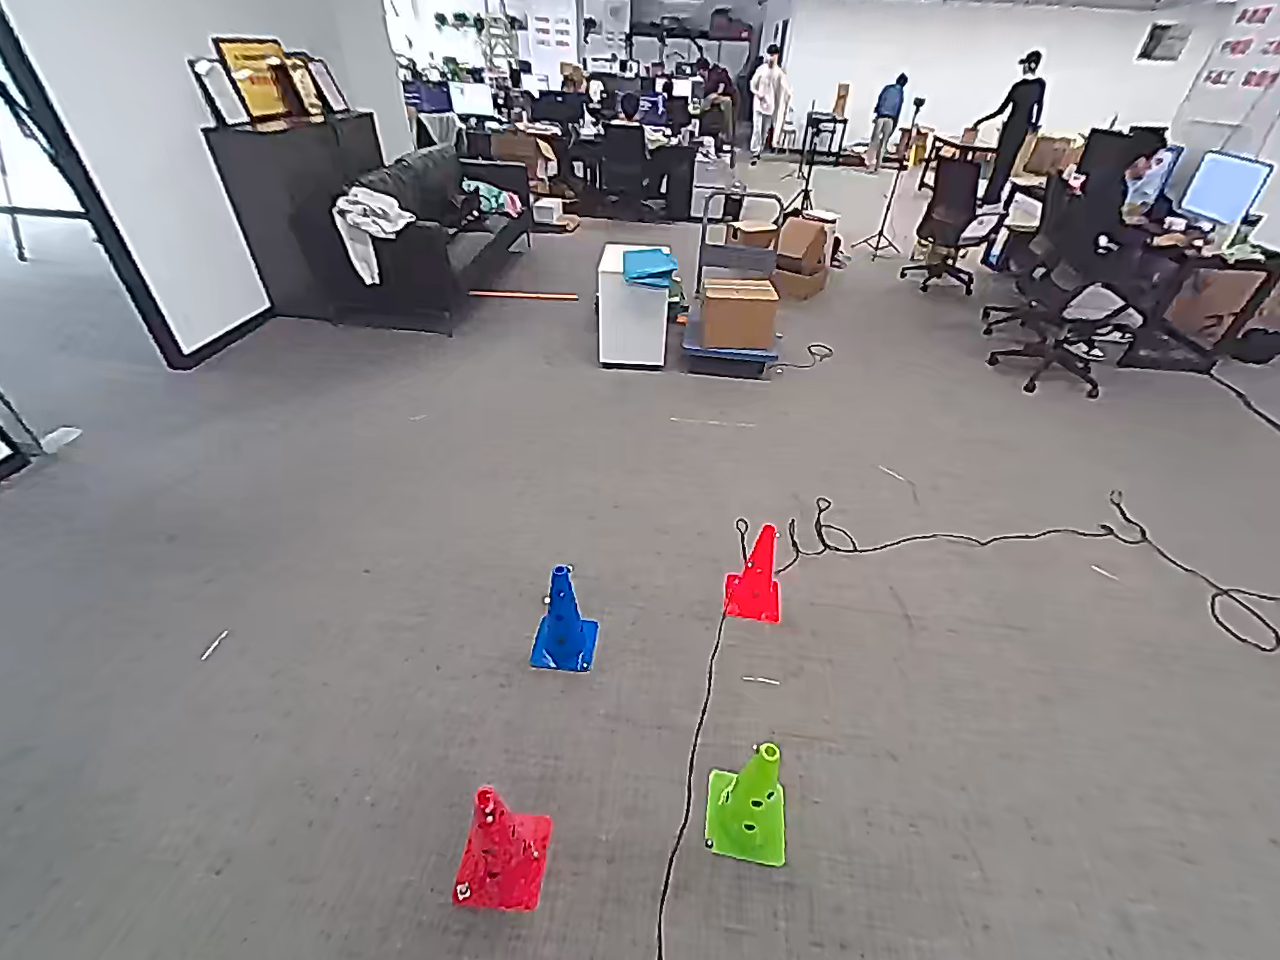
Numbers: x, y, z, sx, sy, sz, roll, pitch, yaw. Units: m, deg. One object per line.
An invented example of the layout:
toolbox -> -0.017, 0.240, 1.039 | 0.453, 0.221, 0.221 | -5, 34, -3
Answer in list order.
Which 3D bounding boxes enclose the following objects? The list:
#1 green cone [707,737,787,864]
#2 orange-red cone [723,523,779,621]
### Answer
green cone -> 0.284, 0.730, 1.294 | 0.200, 0.368, 0.202 | 7, 37, 5
orange-red cone -> 0.410, 0.291, 1.865 | 0.198, 0.360, 0.199 | 8, 40, 8
